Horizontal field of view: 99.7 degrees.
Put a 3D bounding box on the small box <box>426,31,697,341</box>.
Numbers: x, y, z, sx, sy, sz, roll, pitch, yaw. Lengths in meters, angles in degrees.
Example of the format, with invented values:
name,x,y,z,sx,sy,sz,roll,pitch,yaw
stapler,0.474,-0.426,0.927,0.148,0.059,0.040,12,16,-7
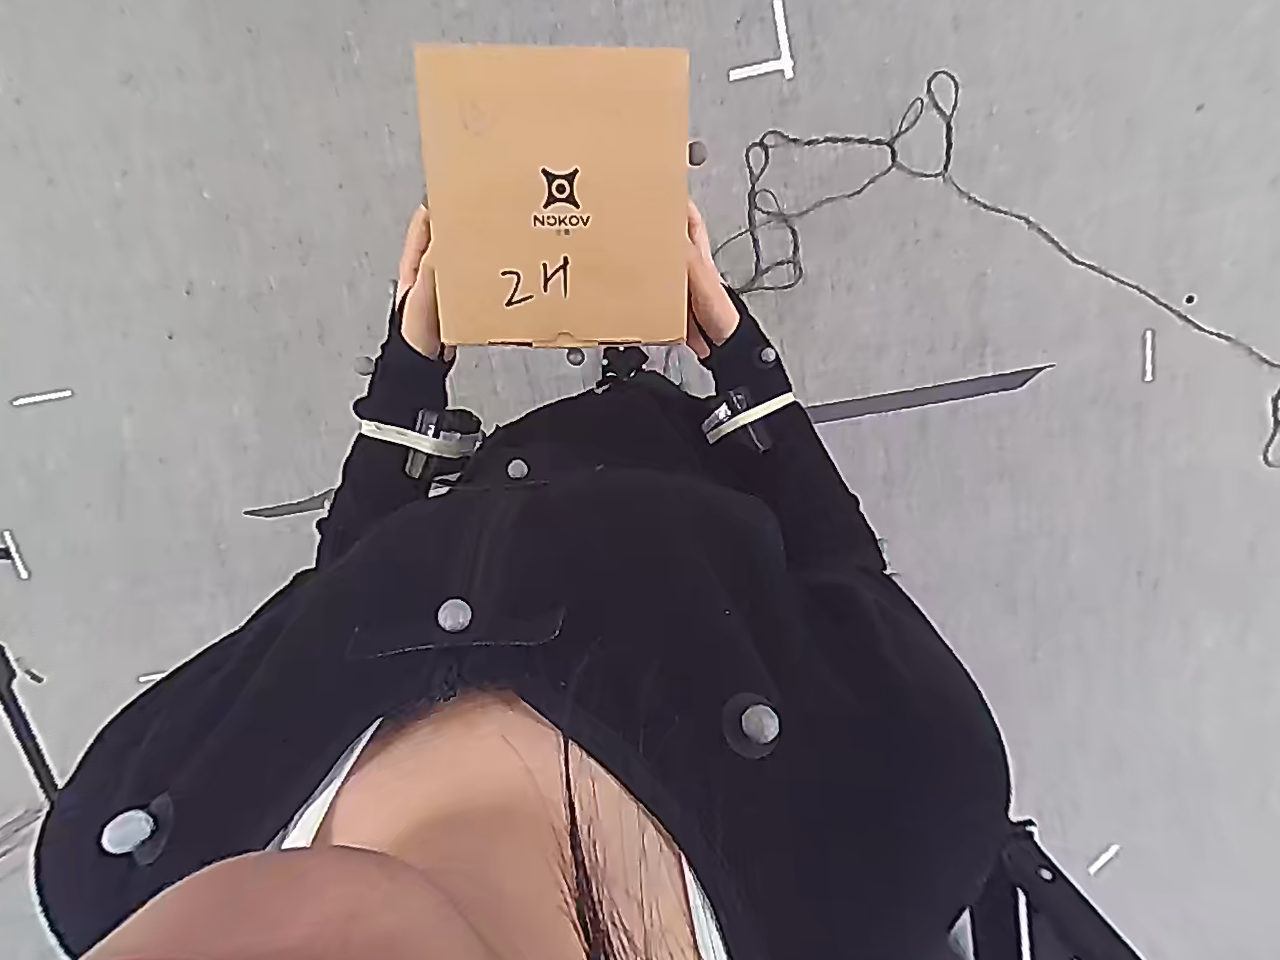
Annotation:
name,x,y,z,sx,sy,sz,roll,pitch,yaw
small box,-0.051,-0.201,0.421,0.168,0.176,0.179,-1,104,-2
